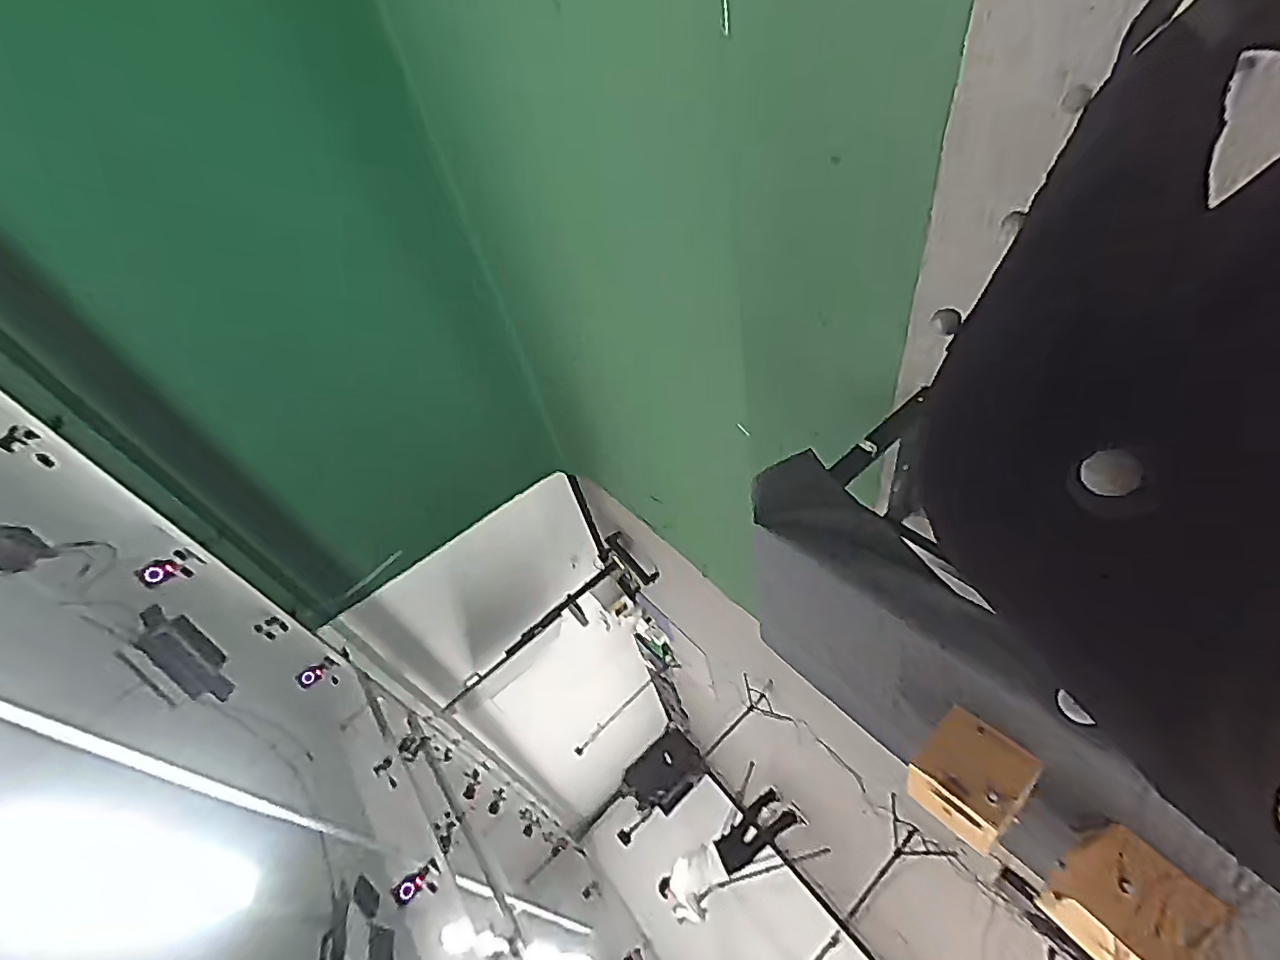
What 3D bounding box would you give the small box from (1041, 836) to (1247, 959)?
[{"bbox_3d":[0.845,0.741,0.919,0.179,0.176,0.168,38,156,34],"label":"small box"}]
